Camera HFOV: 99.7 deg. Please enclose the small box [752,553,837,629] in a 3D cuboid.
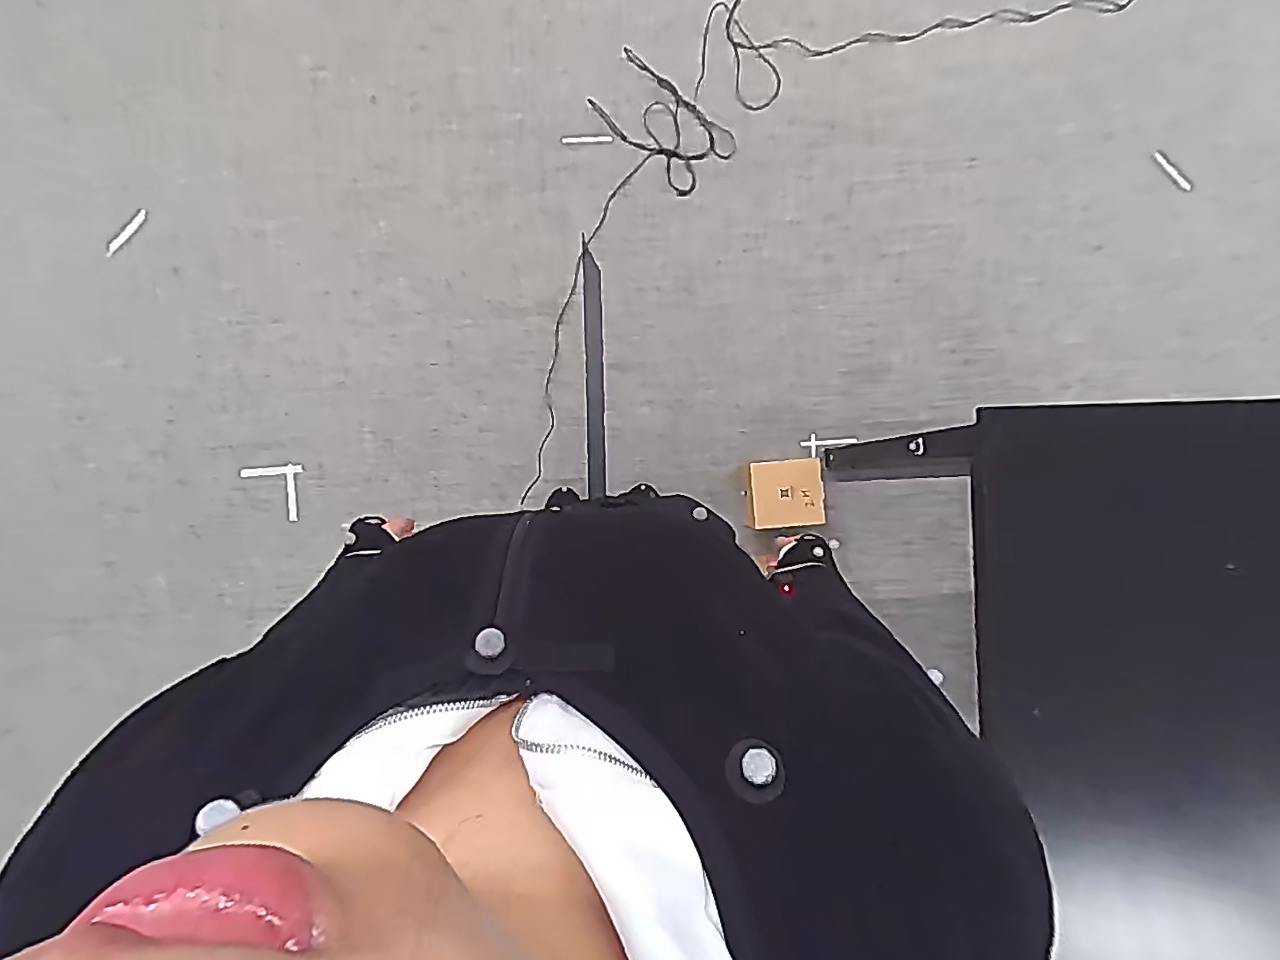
[{"bbox_3d":[0.400,0.285,1.415,0.179,0.176,0.168,-3,90,2],"label":"small box"}]
